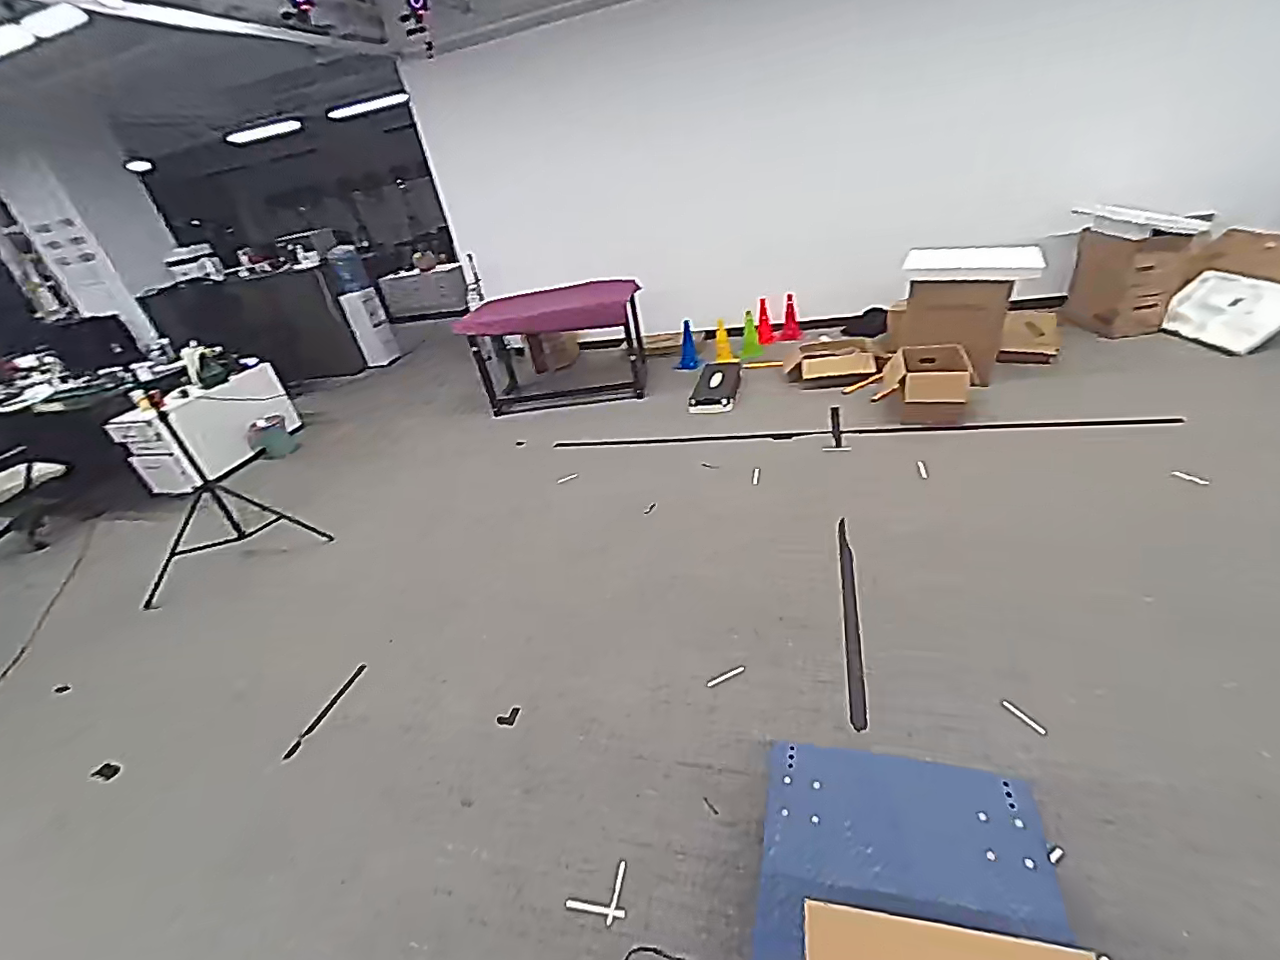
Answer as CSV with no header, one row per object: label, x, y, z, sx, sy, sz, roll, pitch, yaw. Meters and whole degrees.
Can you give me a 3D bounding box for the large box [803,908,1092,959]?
large box,0.453,0.901,0.783,0.408,0.320,0.320,0,33,15
